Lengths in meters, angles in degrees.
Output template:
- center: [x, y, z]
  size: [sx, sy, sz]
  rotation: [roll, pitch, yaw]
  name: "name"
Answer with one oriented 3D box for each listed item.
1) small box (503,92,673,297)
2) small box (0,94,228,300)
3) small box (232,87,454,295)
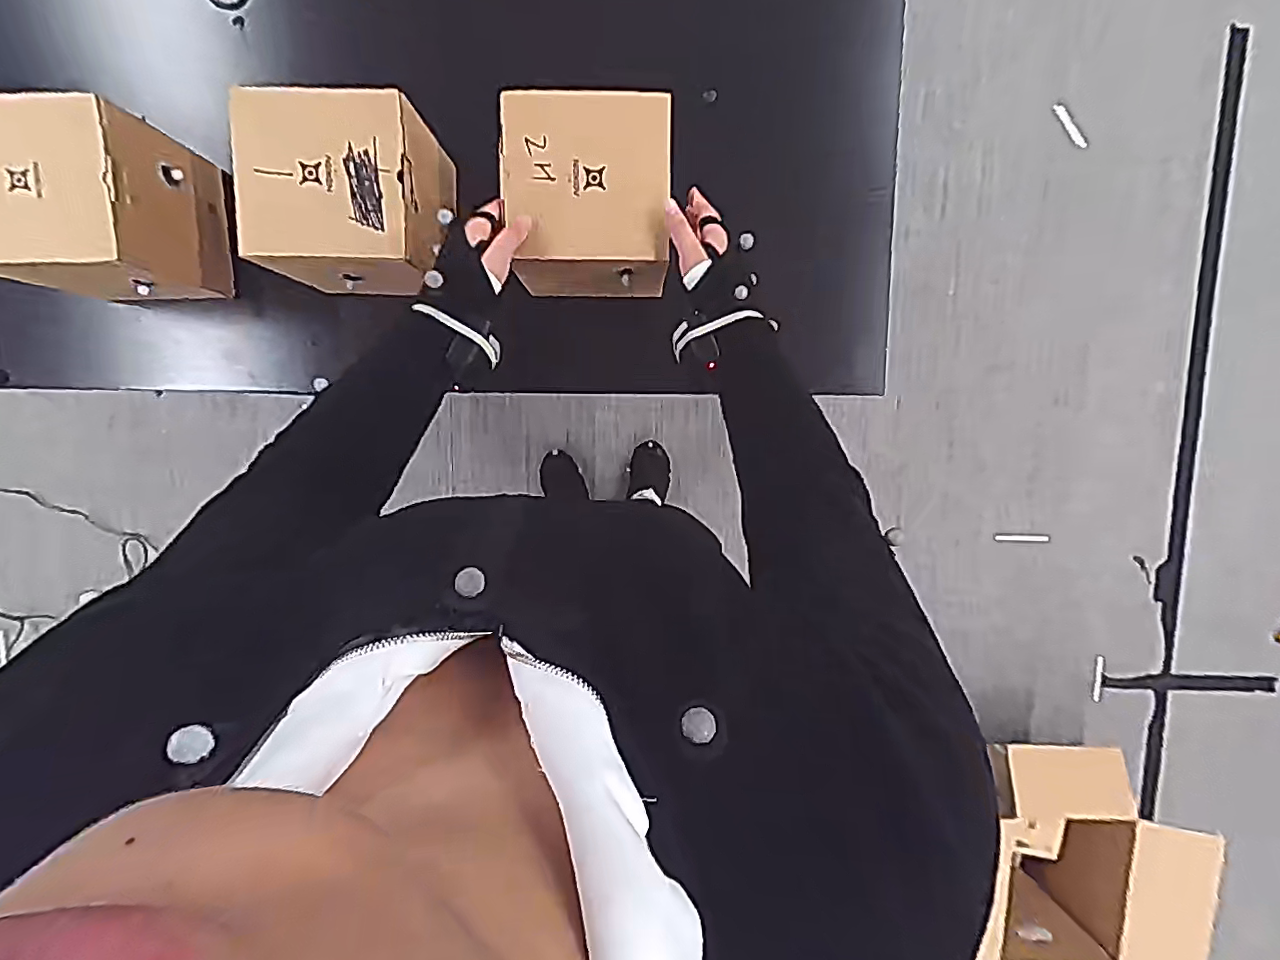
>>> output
- center: [-0.056, -0.320, 0.637]
  size: [0.179, 0.176, 0.168]
  rotation: [0, 96, -1]
  name: "small box"
- center: [-0.621, -0.313, 0.630]
  size: [0.179, 0.176, 0.168]
  rotation: [-2, 96, 0]
  name: "small box"
- center: [-0.327, -0.320, 0.633]
  size: [0.179, 0.176, 0.168]
  rotation: [1, 96, 0]
  name: "small box"
